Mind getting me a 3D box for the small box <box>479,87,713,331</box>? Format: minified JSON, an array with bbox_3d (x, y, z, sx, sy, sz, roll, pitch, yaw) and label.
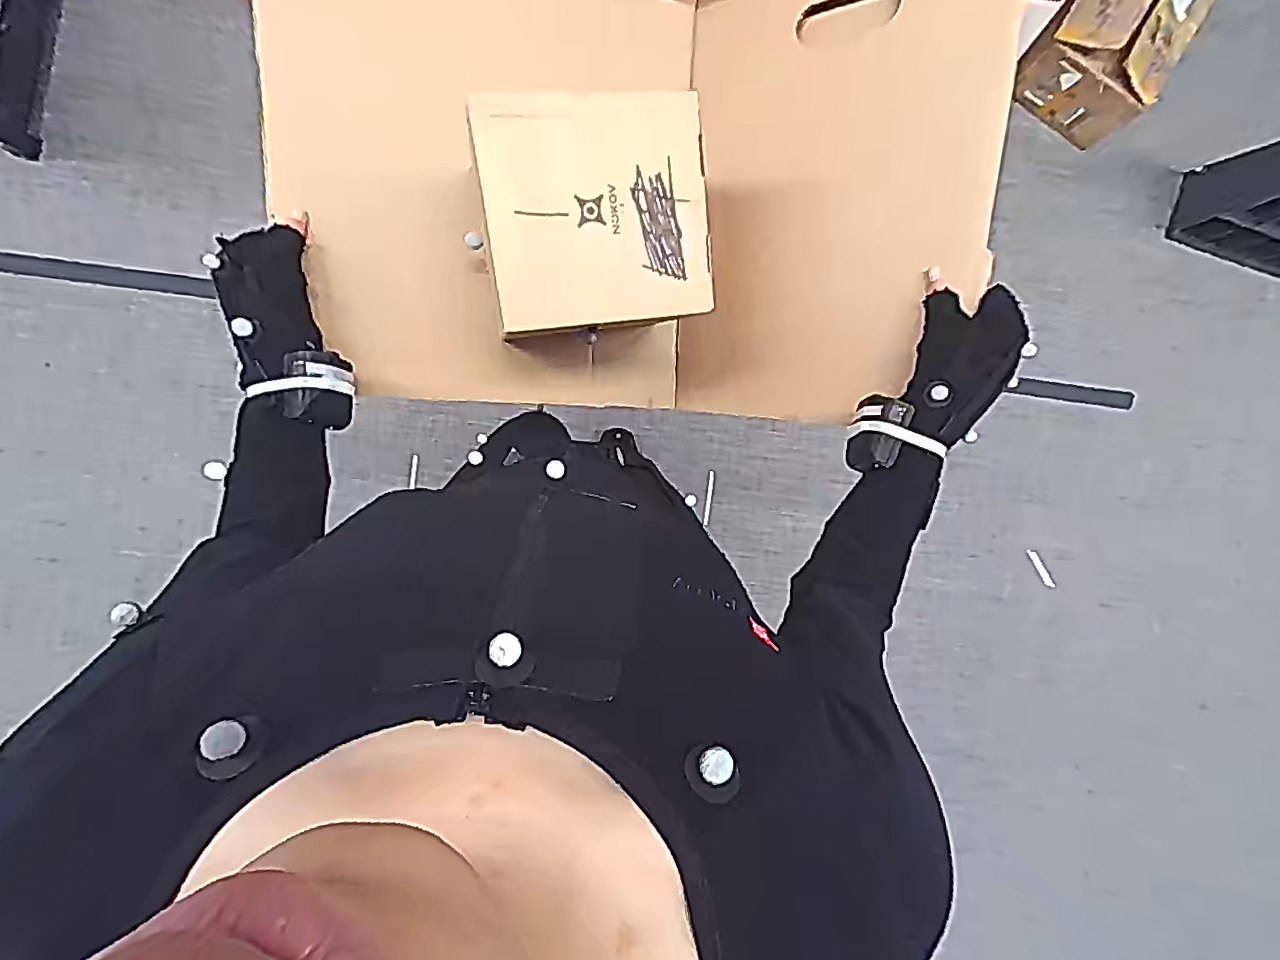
[{"bbox_3d":[-0.048,-0.231,0.499,0.179,0.176,0.168,-9,105,-13],"label":"small box"}]
